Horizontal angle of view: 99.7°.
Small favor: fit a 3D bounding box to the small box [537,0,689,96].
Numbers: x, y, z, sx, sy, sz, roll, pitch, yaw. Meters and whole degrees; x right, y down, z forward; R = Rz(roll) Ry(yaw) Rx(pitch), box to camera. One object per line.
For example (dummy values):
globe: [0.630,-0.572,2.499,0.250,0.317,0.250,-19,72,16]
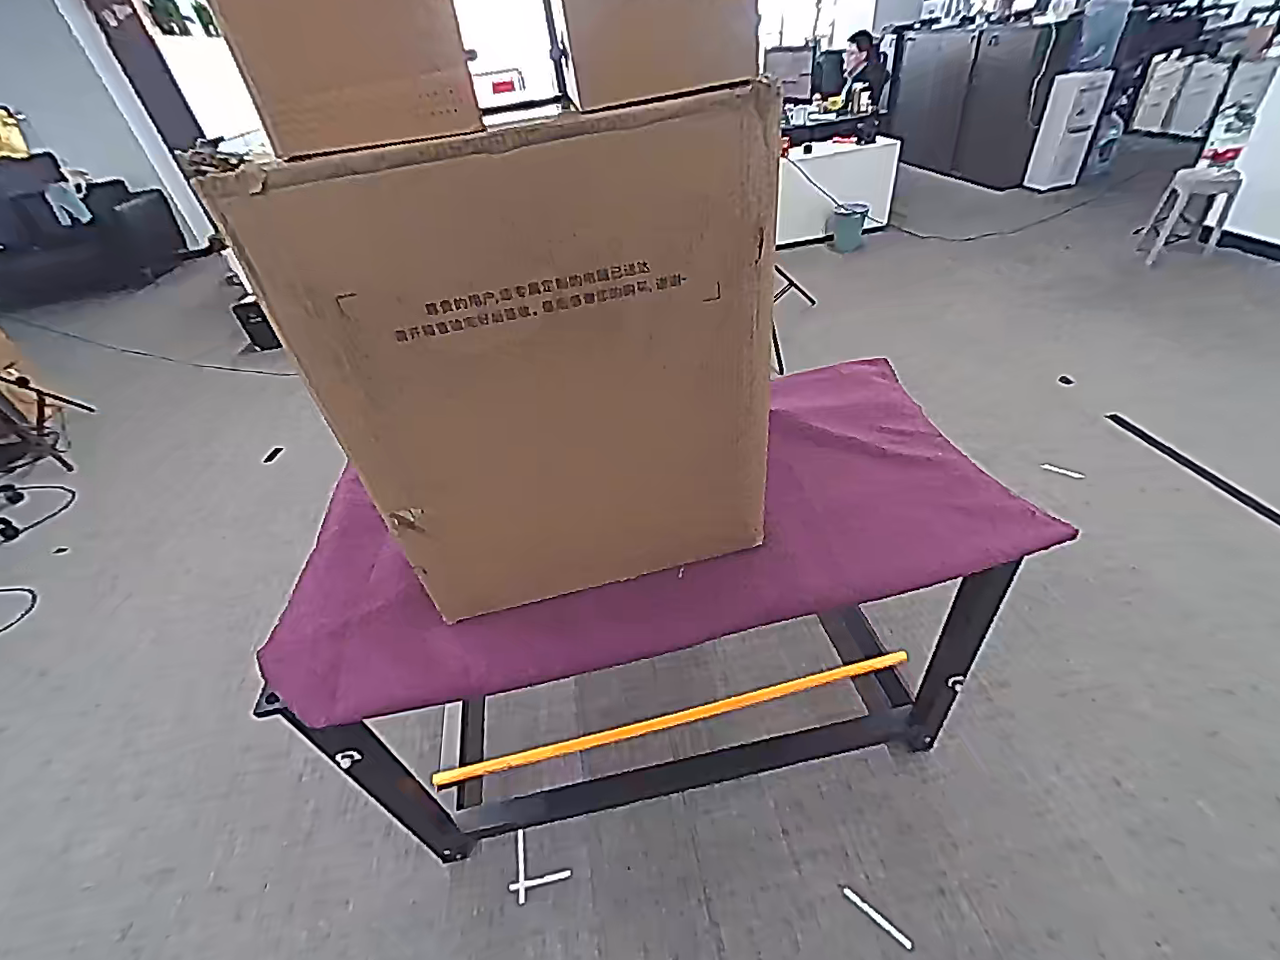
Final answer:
small box: [-0.041,-0.584,0.662,0.168,0.176,0.179,-12,39,-3]
